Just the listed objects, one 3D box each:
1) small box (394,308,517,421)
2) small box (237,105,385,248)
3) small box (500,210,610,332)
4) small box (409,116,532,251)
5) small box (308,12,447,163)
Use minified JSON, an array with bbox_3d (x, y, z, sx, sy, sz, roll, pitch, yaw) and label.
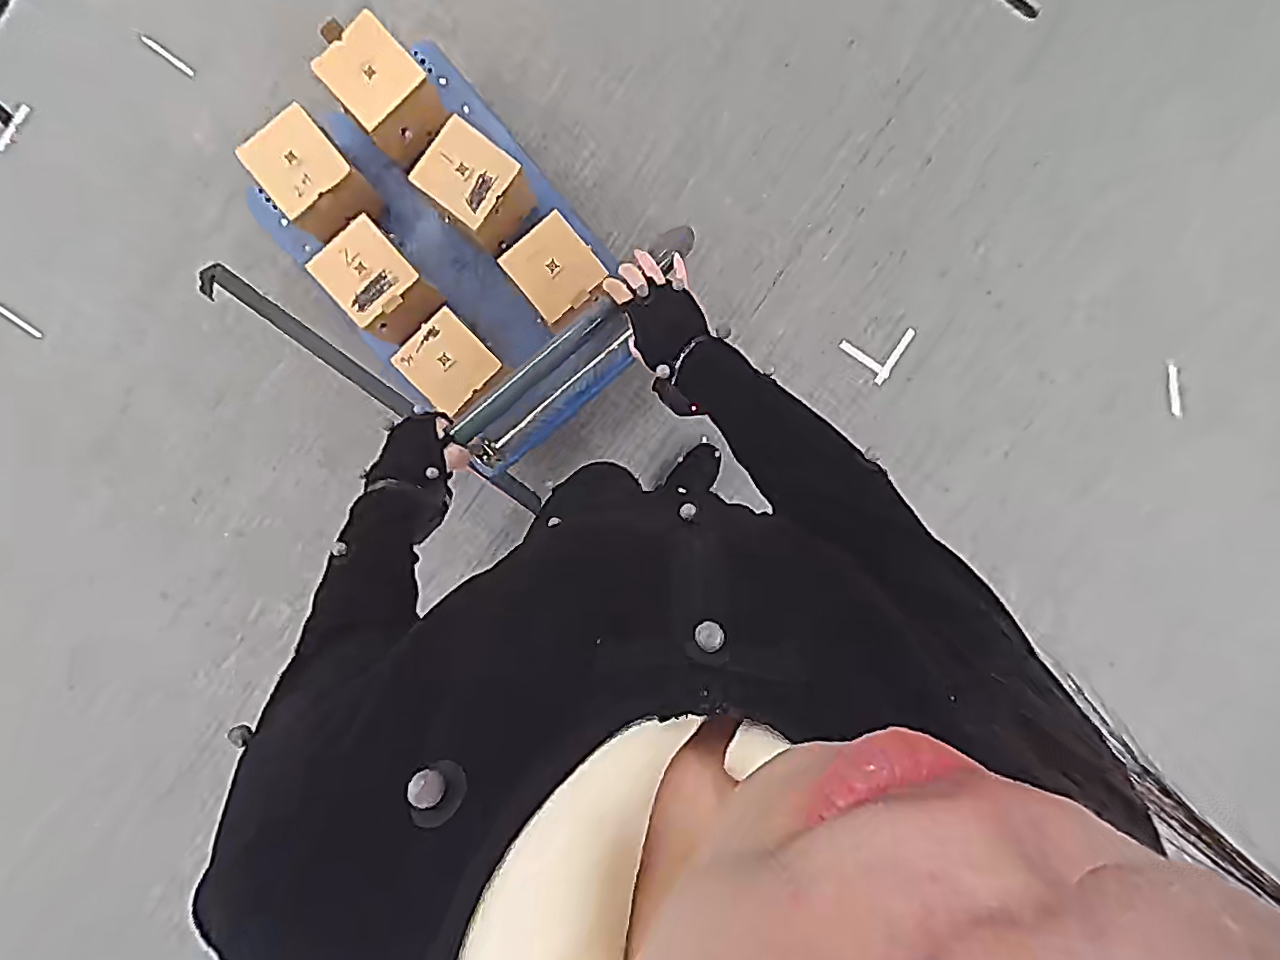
[{"bbox_3d":[-0.398,-0.248,1.206,0.168,0.176,0.179,-45,94,0],"label":"small box"},{"bbox_3d":[-0.701,-0.644,1.171,0.168,0.176,0.179,-40,95,1],"label":"small box"},{"bbox_3d":[-0.178,-0.449,1.203,0.168,0.176,0.179,-41,93,0],"label":"small box"},{"bbox_3d":[-0.358,-0.633,1.184,0.179,0.176,0.168,37,92,-3],"label":"small box"},{"bbox_3d":[-0.551,-0.825,1.166,0.168,0.176,0.179,-44,94,1],"label":"small box"}]
